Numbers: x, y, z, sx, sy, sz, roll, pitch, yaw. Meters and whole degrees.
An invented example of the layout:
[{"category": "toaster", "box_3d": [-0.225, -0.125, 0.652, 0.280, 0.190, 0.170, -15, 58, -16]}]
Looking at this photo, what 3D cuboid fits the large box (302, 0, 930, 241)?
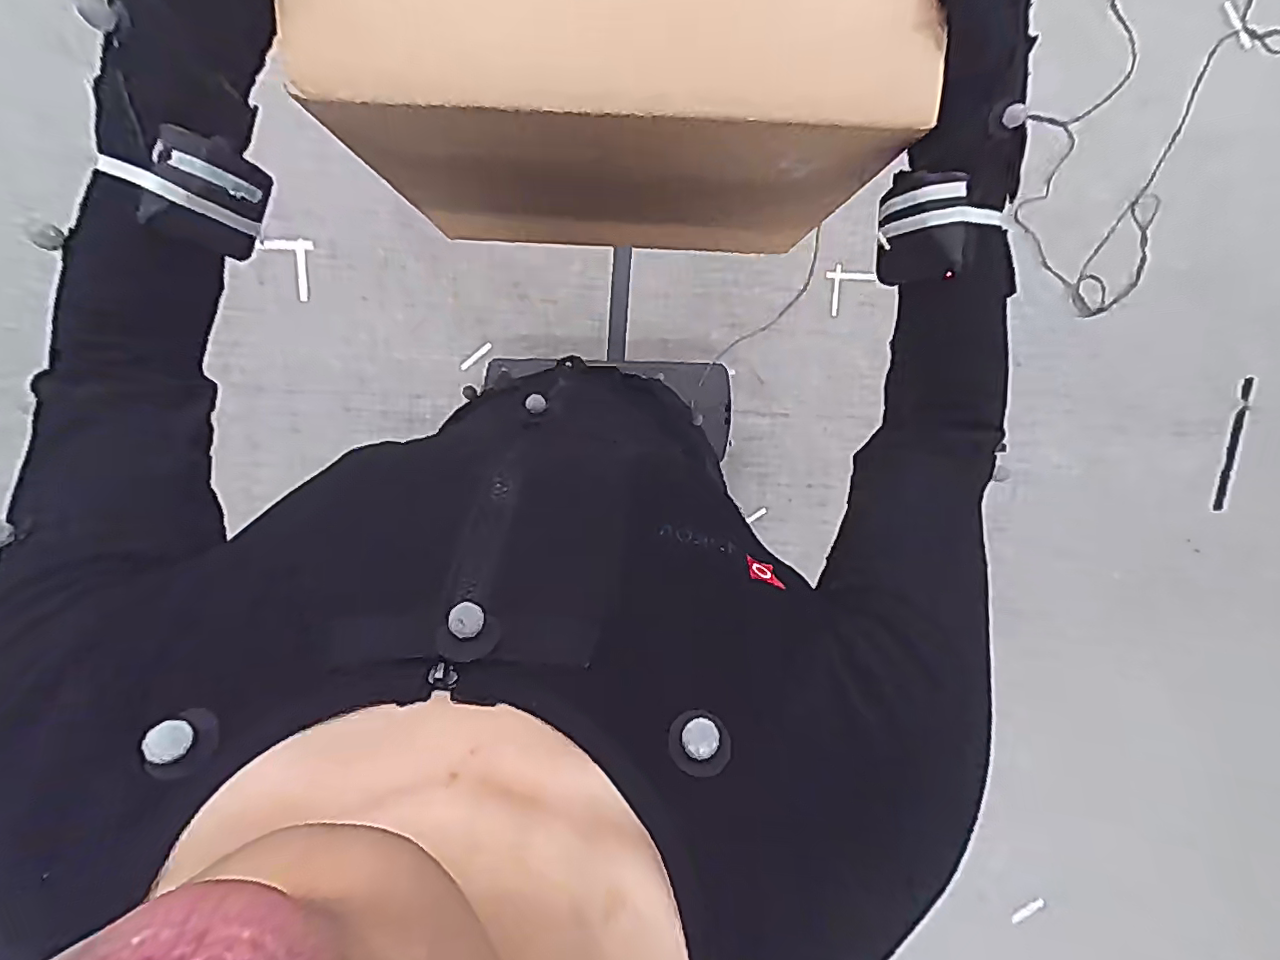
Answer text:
[{"category": "large box", "box_3d": [-0.017, -0.416, 0.474, 0.408, 0.320, 0.320, 1, 99, -3]}]
